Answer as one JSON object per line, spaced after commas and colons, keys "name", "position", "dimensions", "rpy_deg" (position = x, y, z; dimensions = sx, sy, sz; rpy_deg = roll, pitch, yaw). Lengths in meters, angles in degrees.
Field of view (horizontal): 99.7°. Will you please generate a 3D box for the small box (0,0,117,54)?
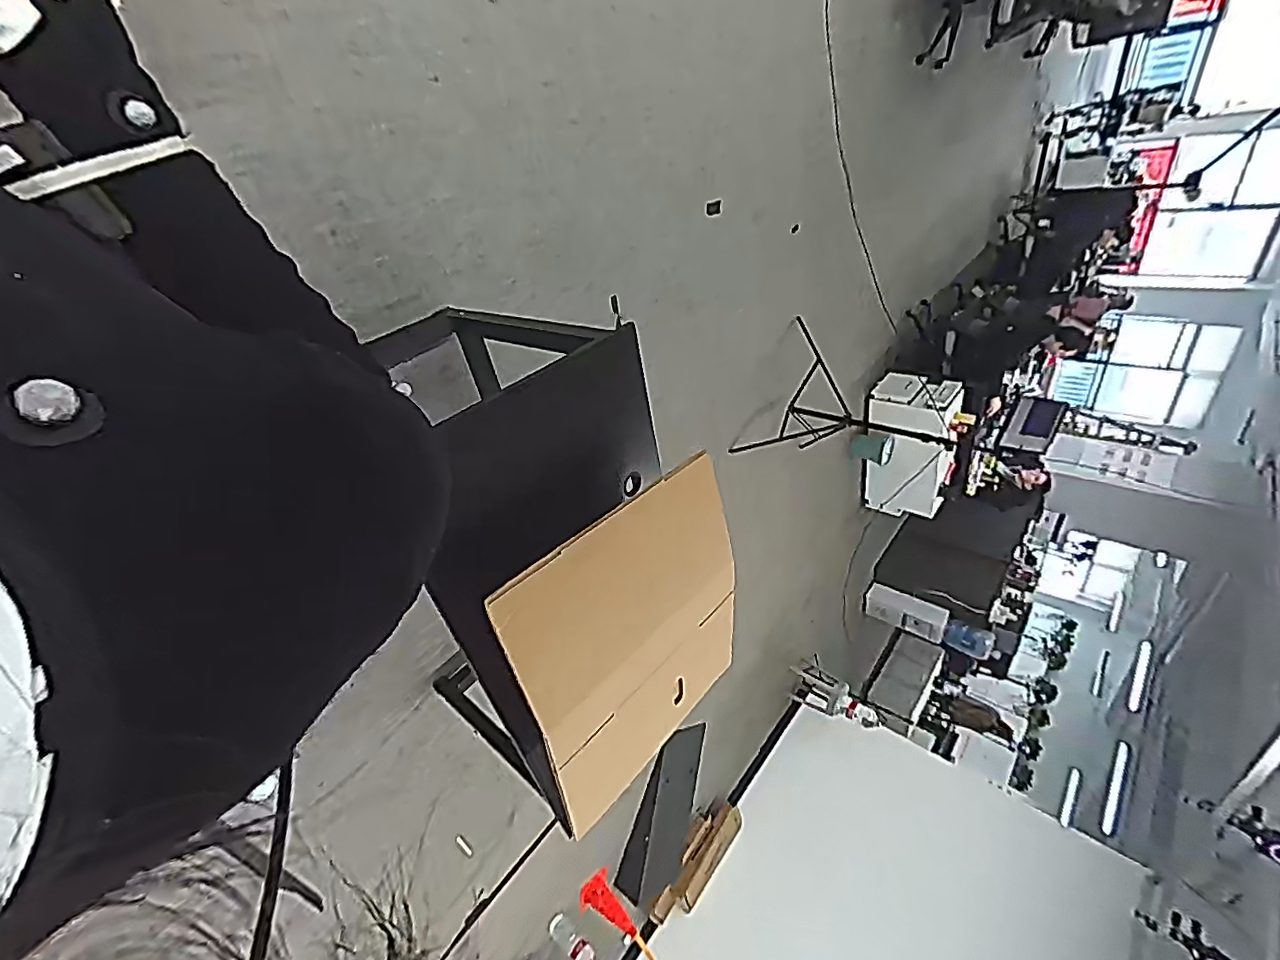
{"name": "small box", "position": [-0.874, -0.703, 0.728], "dimensions": [0.179, 0.176, 0.168], "rpy_deg": [-45, 136, -29]}
